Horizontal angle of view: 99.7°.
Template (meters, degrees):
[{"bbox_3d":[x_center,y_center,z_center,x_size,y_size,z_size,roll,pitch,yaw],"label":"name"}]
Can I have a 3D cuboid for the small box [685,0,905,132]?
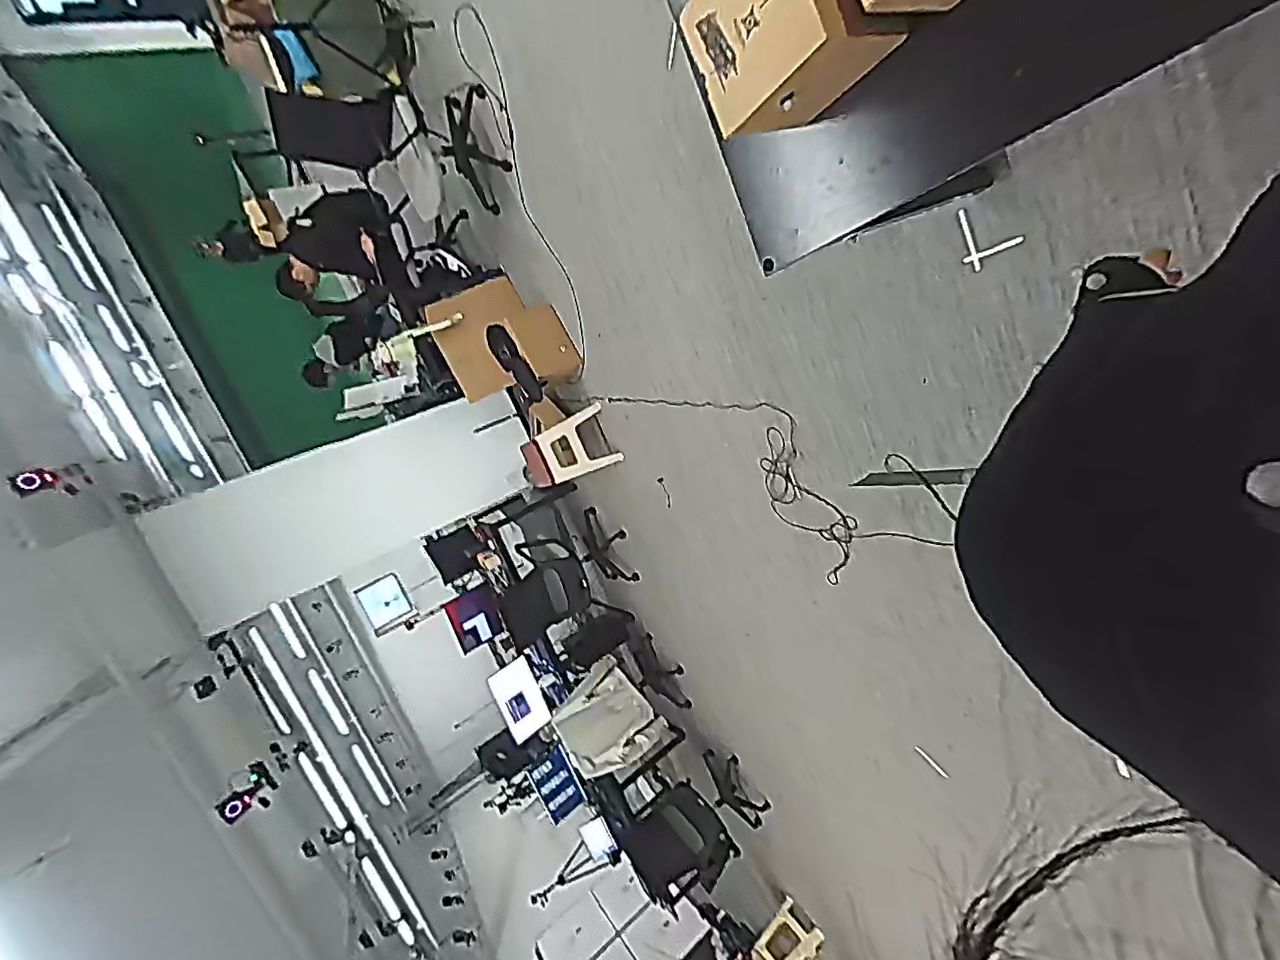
[{"bbox_3d":[0.194,-0.582,0.687,0.179,0.176,0.168,-10,106,60],"label":"small box"}]
